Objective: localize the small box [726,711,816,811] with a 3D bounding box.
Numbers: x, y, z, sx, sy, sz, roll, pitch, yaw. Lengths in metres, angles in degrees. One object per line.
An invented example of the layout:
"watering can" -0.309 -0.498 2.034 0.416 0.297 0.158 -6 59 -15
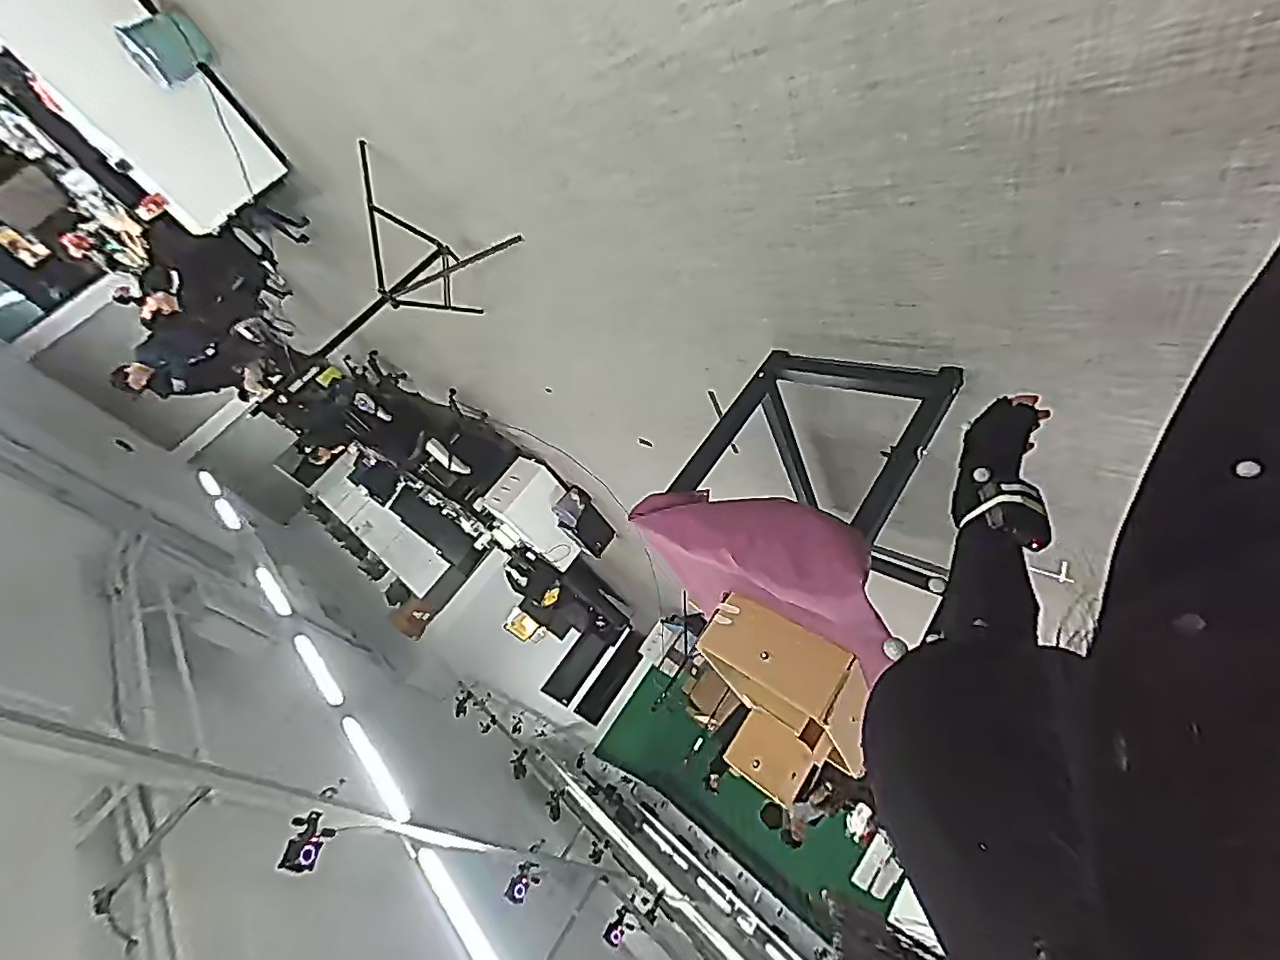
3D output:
"small box" 0.383 0.798 1.544 0.179 0.176 0.168 22 156 43
